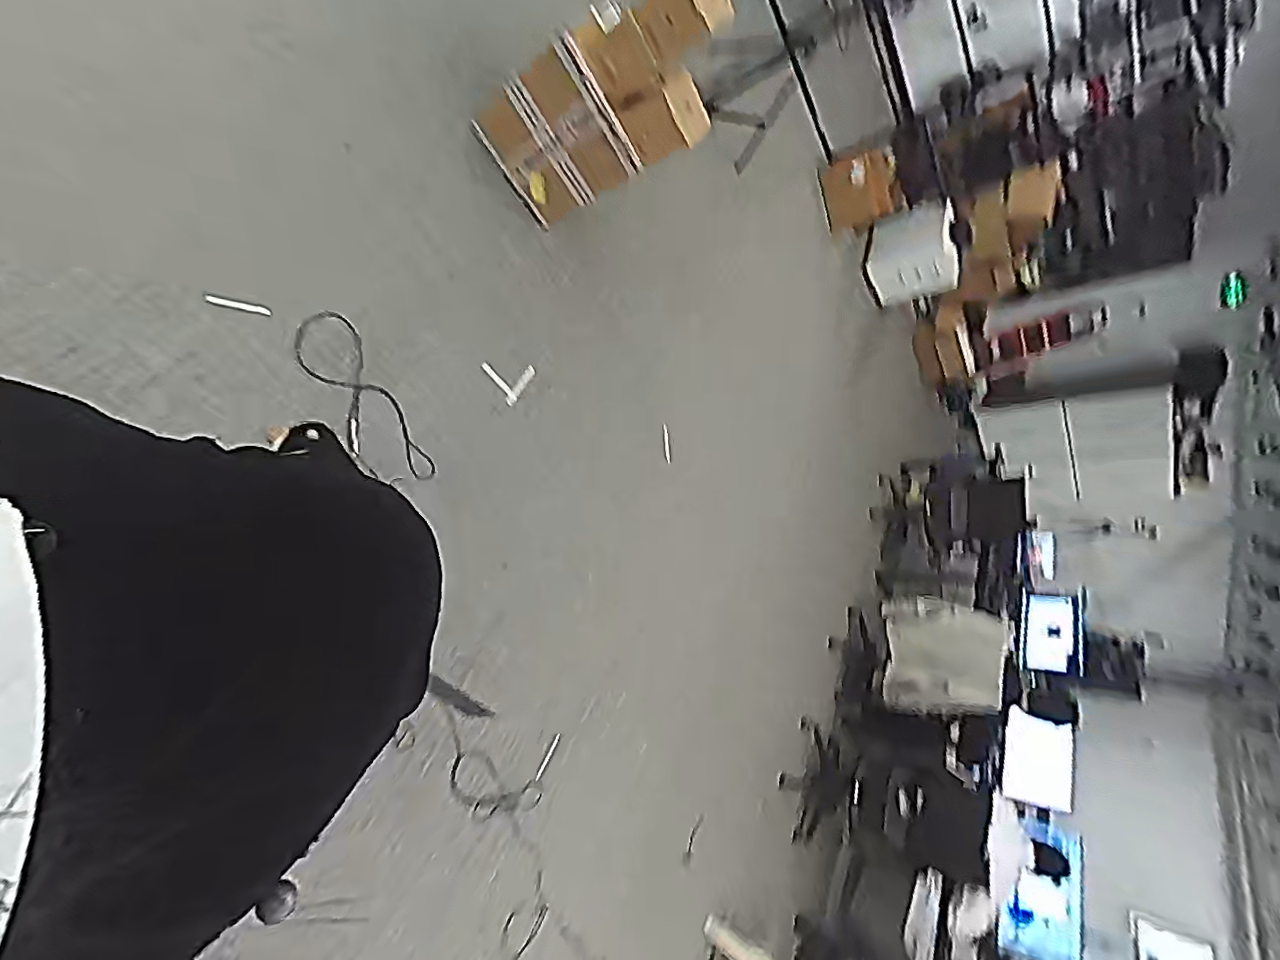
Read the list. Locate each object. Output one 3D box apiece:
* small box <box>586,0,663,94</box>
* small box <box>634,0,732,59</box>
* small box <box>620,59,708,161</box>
[{"bbox_3d":[-0.020,-1.241,1.517,0.168,0.176,0.179,48,58,-33],"label":"small box"},{"bbox_3d":[0.105,-1.253,1.410,0.168,0.176,0.179,50,57,-32],"label":"small box"},{"bbox_3d":[0.069,-1.093,1.605,0.168,0.176,0.179,52,54,-33],"label":"small box"}]
